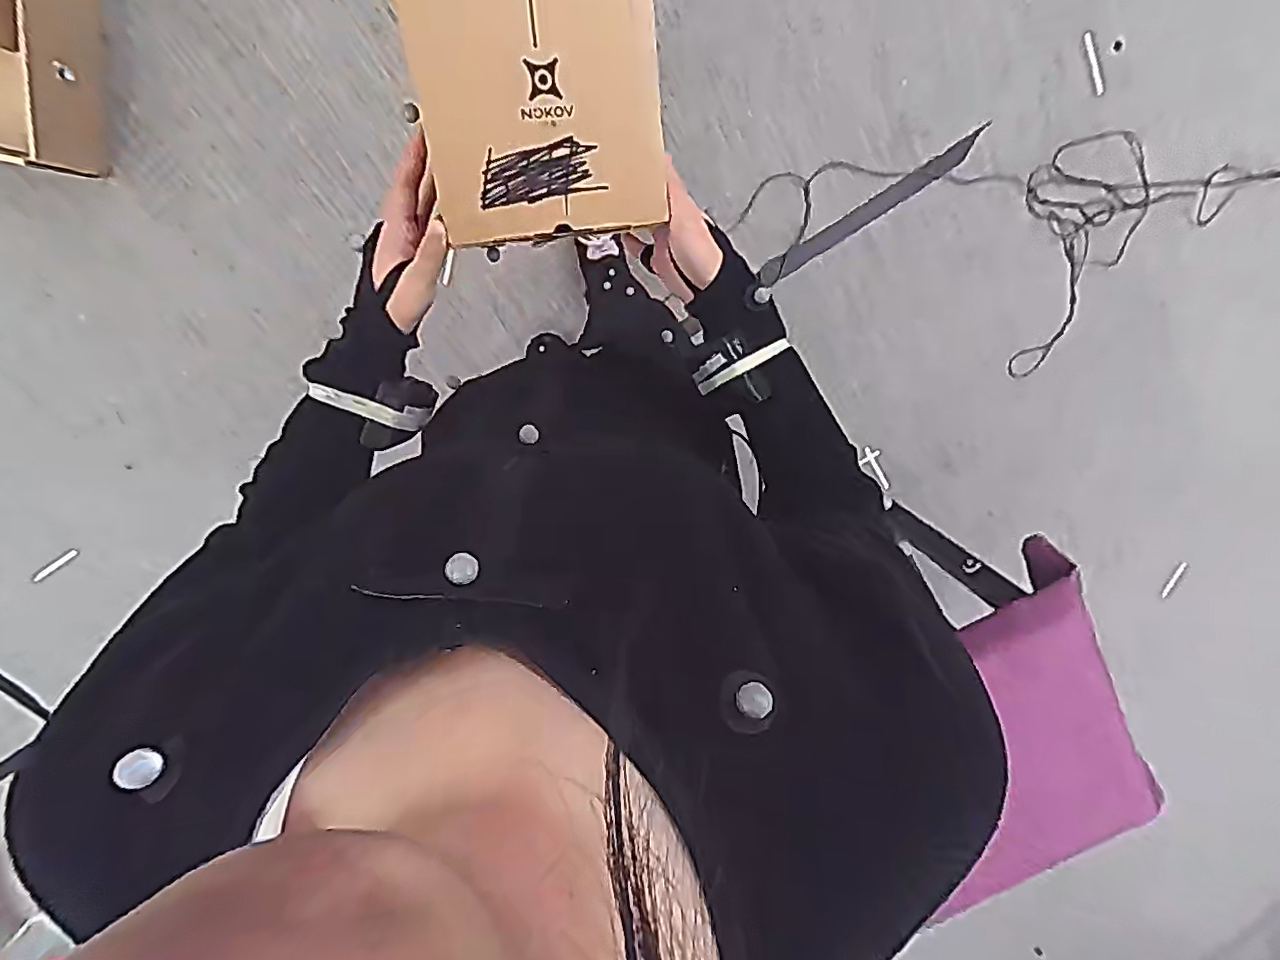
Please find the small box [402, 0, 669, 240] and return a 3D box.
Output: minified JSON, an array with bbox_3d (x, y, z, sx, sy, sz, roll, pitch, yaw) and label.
[{"bbox_3d":[-0.083,-0.294,0.434,0.168,0.176,0.179,-11,114,-13],"label":"small box"}]
